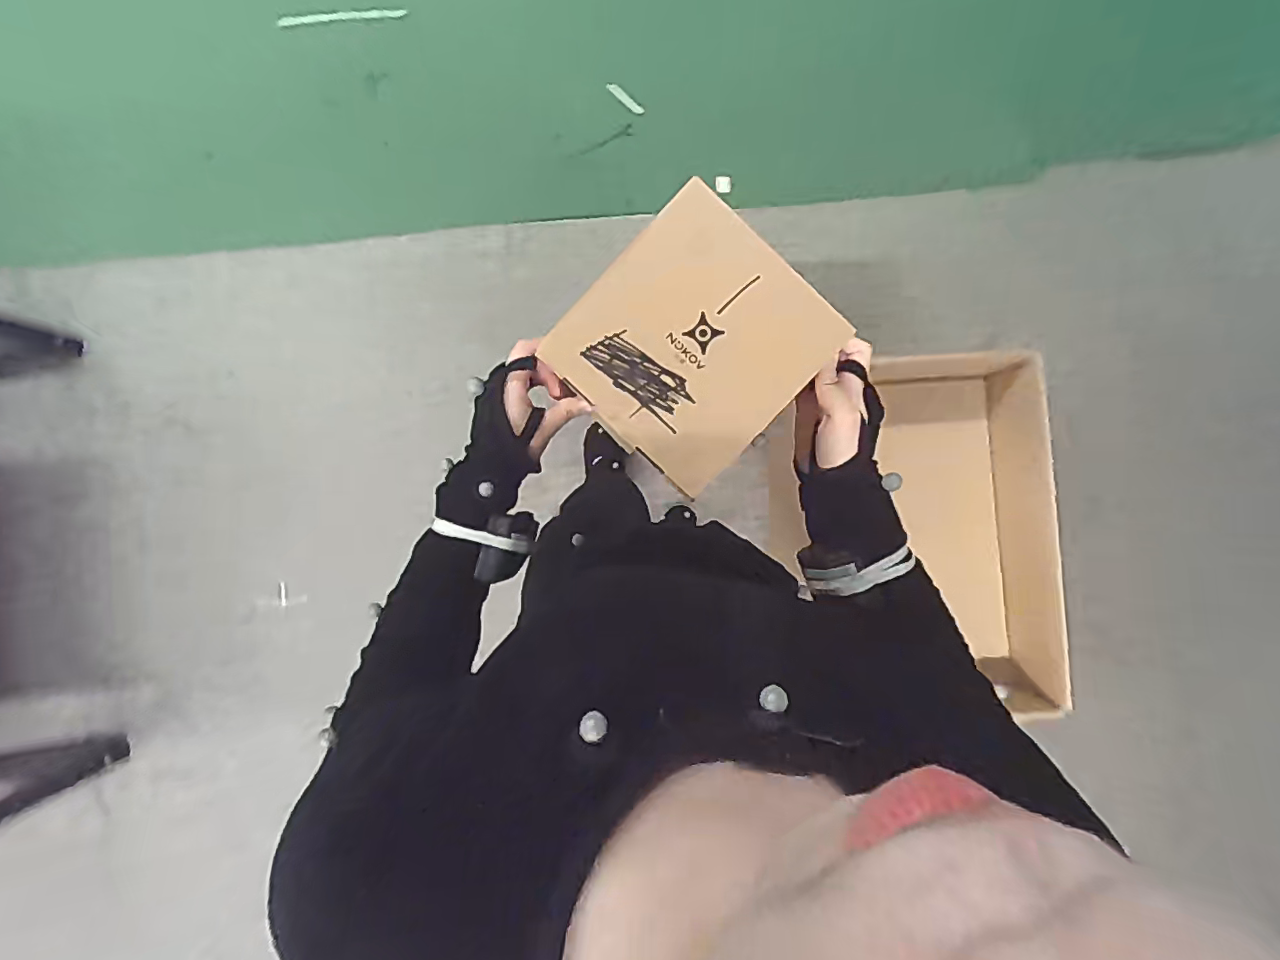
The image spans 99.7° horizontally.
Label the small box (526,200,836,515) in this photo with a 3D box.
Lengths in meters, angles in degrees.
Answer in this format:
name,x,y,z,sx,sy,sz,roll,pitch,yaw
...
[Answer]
name,x,y,z,sx,sy,sz,roll,pitch,yaw
small box,0.033,-0.092,0.479,0.168,0.176,0.179,42,93,0
